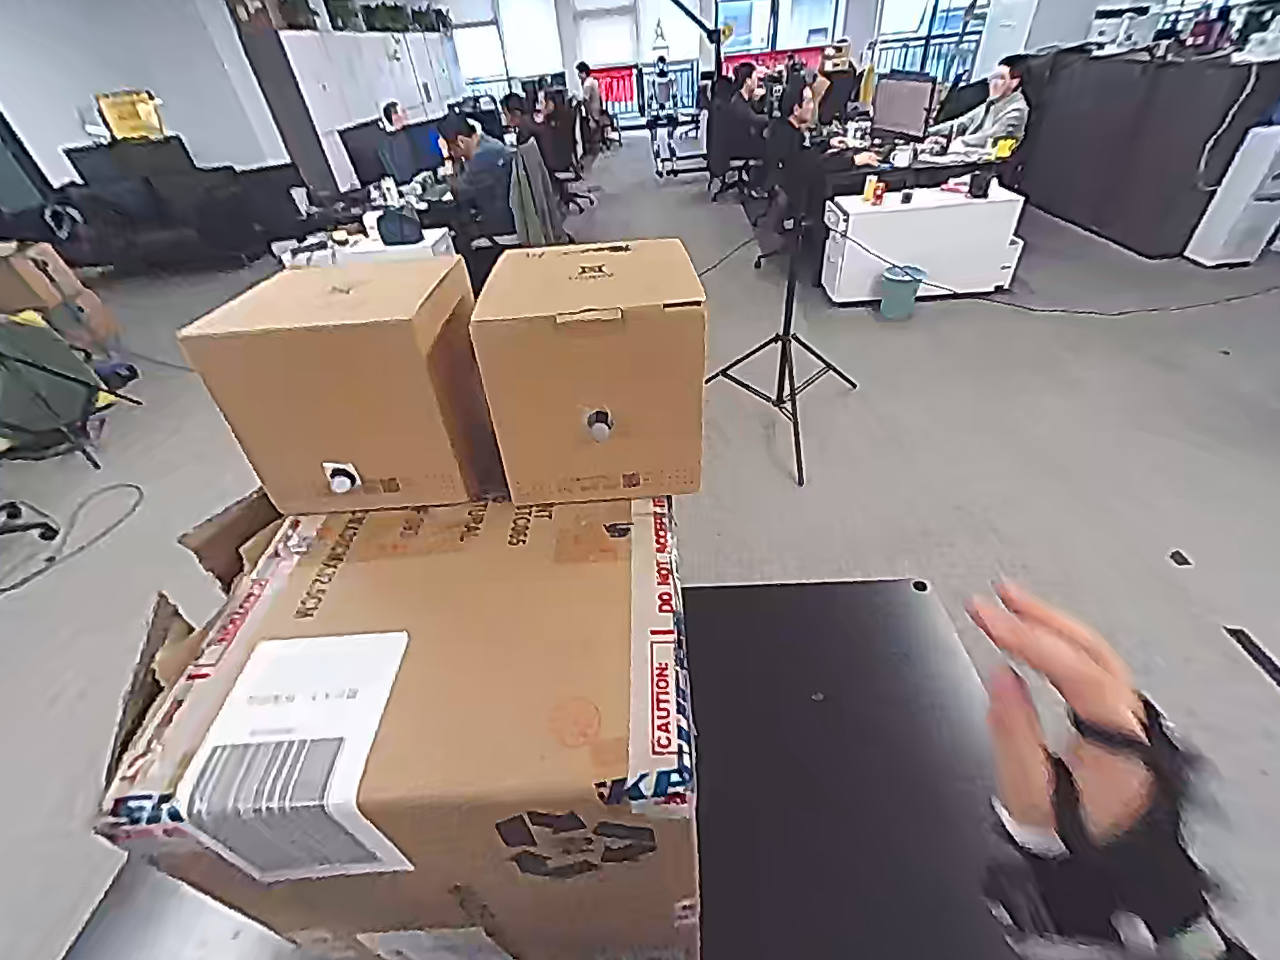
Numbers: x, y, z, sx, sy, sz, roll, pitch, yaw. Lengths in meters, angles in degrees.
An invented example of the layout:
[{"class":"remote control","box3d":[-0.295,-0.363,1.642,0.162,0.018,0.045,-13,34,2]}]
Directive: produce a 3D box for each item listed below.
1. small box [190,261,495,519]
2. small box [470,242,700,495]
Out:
[{"class":"small box","box3d":[-0.237,-0.086,0.493,0.168,0.176,0.179,-6,37,-1]},{"class":"small box","box3d":[-0.037,-0.098,0.486,0.168,0.176,0.179,-4,38,-1]}]
